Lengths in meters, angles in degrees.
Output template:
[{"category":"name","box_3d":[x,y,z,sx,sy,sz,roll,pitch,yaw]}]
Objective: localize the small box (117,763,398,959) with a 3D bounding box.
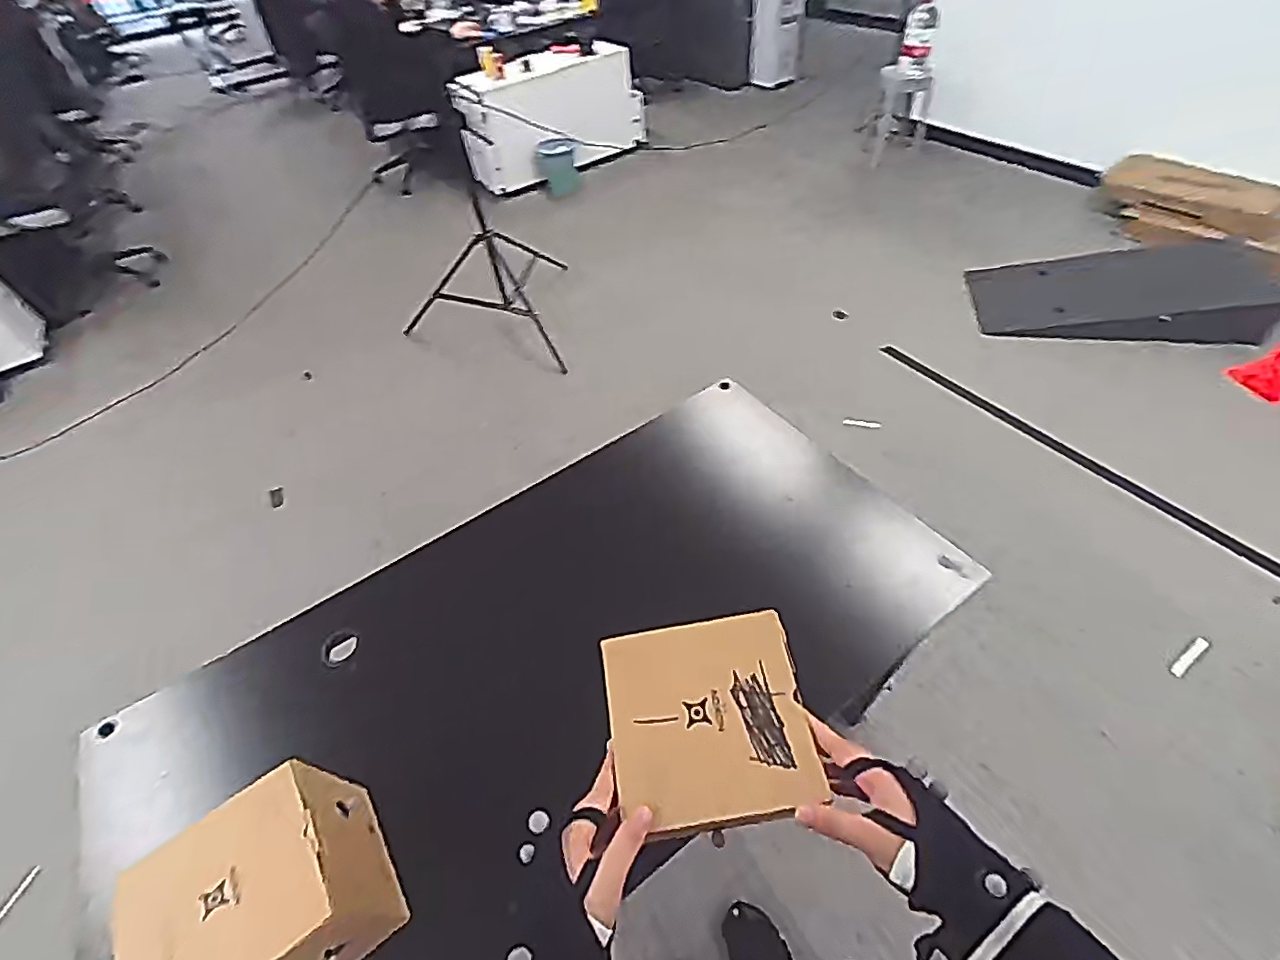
[{"category":"small box","box_3d":[-0.382,0.441,0.567,0.179,0.176,0.168,-33,53,-19]}]

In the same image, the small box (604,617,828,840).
[{"category":"small box","box_3d":[0.066,0.256,0.548,0.179,0.176,0.168,-9,55,0]}]
